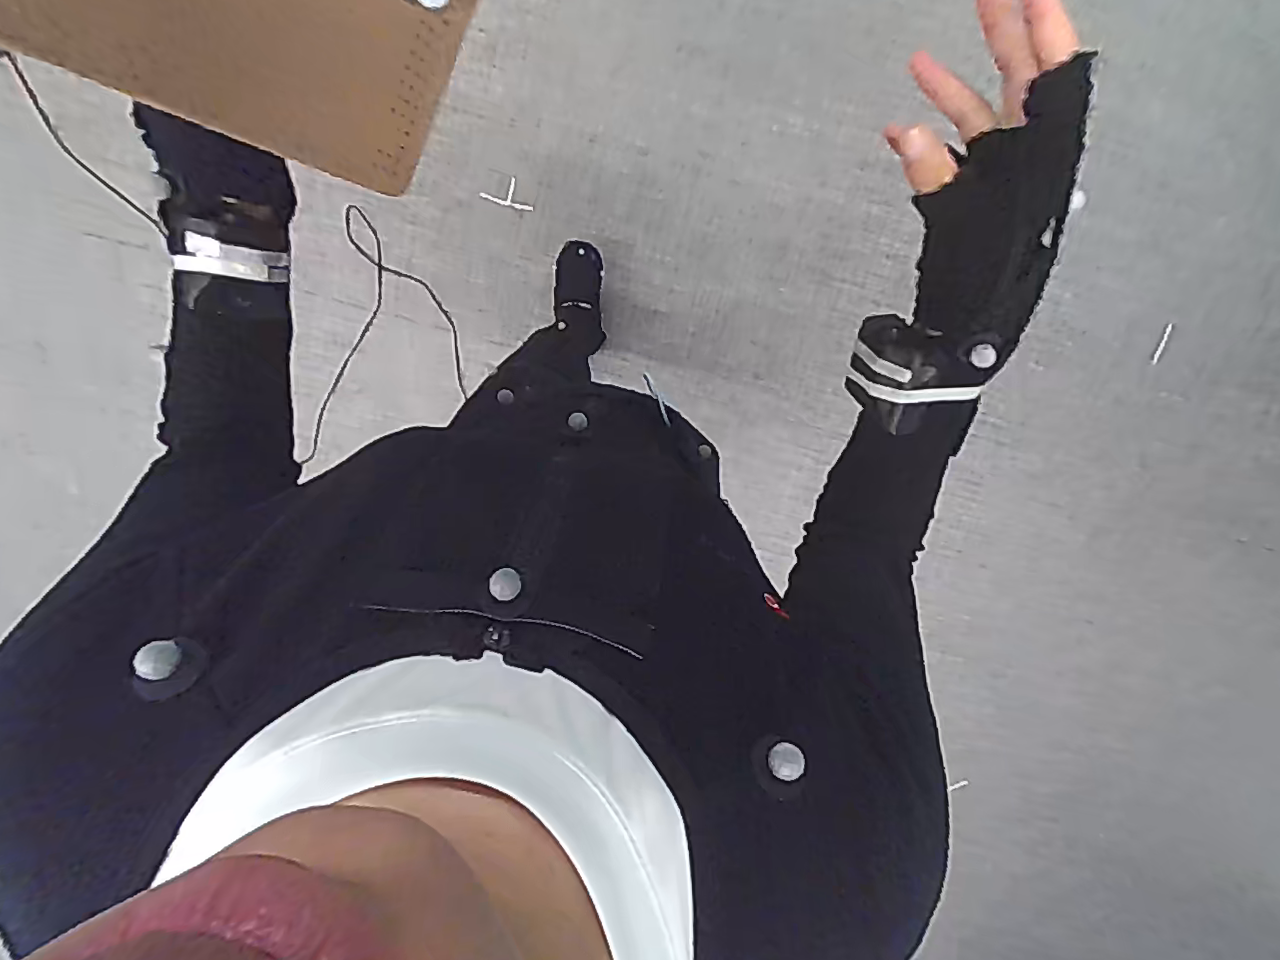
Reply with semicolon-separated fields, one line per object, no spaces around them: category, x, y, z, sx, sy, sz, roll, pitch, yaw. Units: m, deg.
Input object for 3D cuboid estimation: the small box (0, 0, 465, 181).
small box;-0.172;-0.249;0.190;0.168;0.176;0.179;35;110;7
